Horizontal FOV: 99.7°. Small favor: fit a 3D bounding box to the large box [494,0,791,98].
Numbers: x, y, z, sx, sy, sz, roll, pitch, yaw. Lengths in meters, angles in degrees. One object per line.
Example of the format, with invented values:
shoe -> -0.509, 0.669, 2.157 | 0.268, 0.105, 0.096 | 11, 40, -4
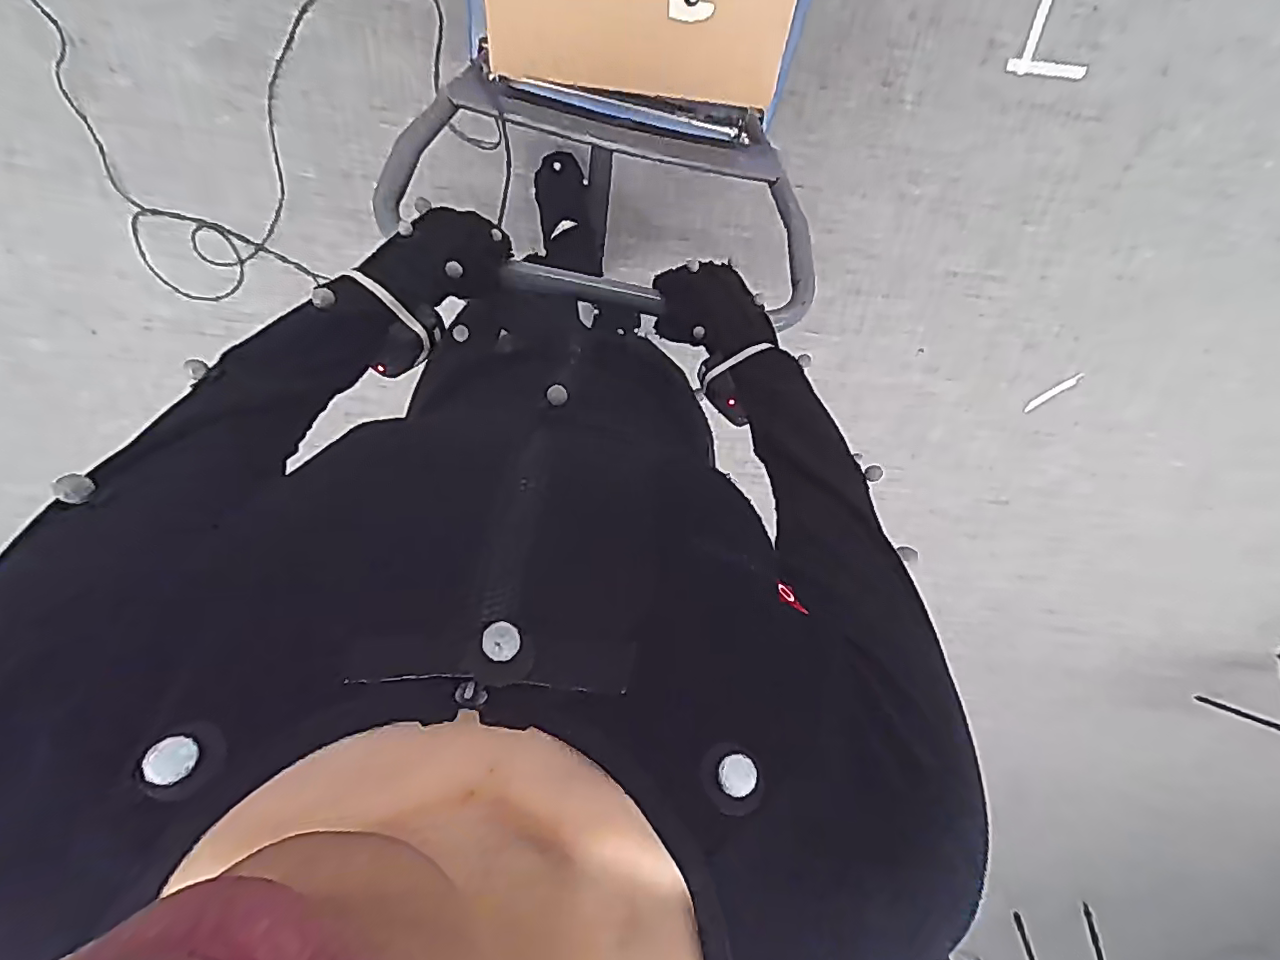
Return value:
large box -> 0.006, -0.785, 0.783 | 0.408, 0.320, 0.320 | 4, 135, -5
